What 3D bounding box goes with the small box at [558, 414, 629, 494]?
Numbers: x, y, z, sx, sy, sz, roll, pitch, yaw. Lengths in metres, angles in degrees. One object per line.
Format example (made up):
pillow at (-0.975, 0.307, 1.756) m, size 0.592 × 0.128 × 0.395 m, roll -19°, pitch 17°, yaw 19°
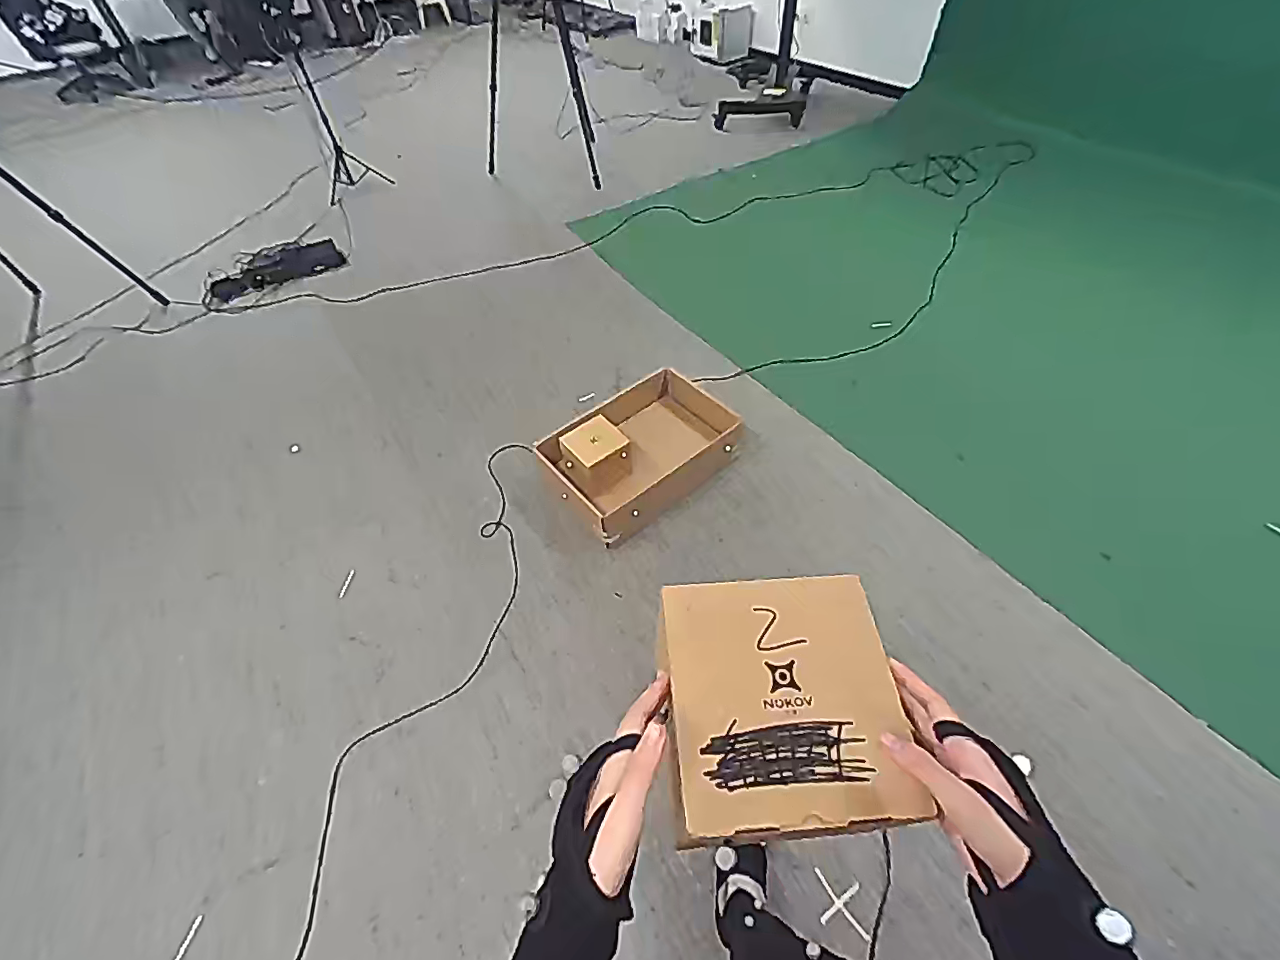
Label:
small box at (-0.149, -0.083, 1.813) m, size 0.179 × 0.176 × 0.168 m, roll -34°, pitch 58°, yaw -23°
